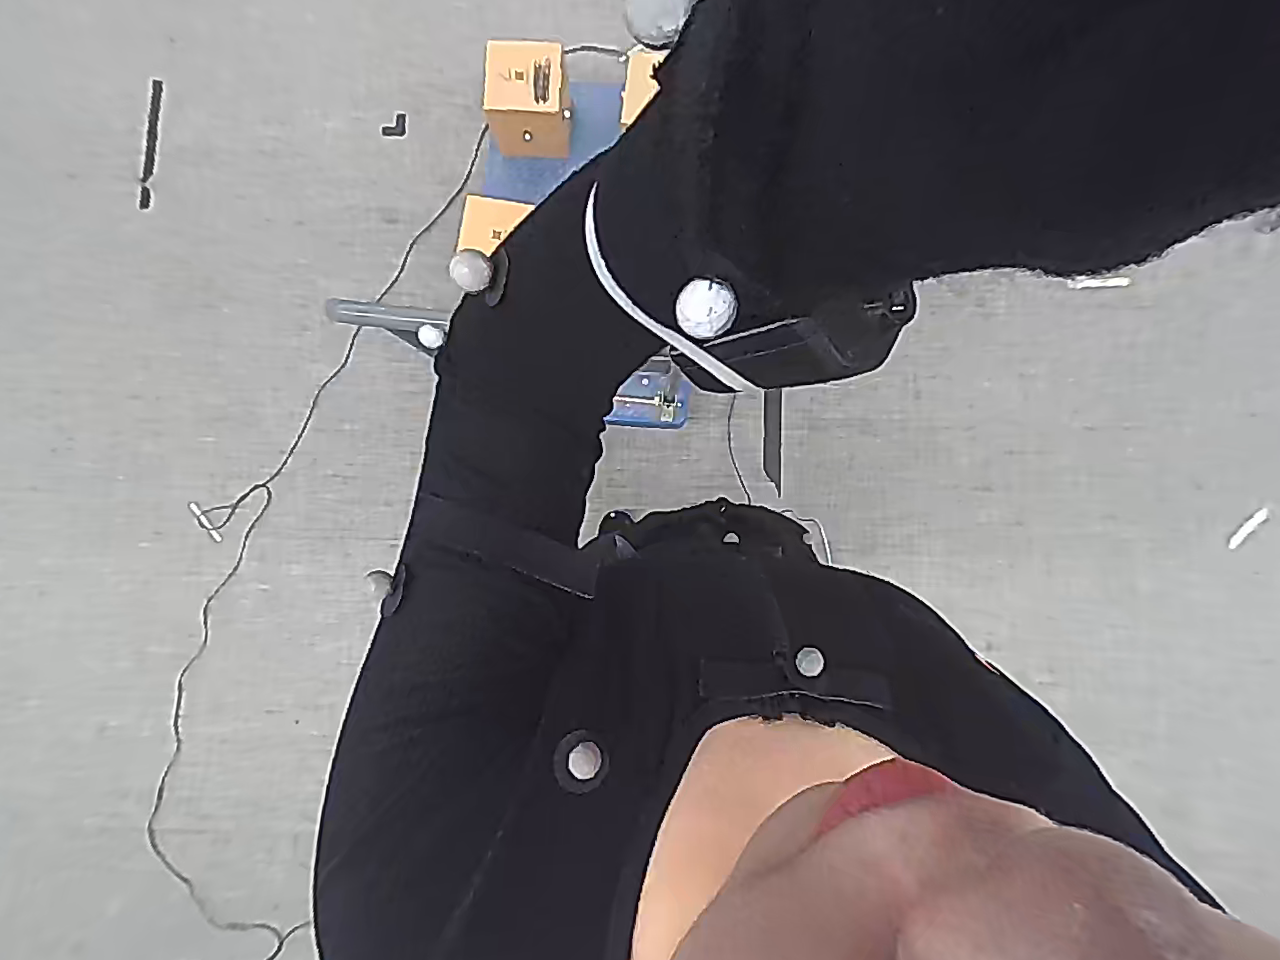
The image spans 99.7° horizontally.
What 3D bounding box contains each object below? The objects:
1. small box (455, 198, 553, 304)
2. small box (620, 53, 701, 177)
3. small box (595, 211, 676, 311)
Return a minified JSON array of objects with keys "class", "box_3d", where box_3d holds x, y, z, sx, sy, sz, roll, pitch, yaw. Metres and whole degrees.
[{"class":"small box","box_3d":[-0.316,-0.536,1.289,0.179,0.176,0.168,9,86,0]},{"class":"small box","box_3d":[0.046,-0.873,1.305,0.168,0.176,0.179,7,88,1]},{"class":"small box","box_3d":[-0.007,-0.512,1.284,0.179,0.176,0.168,2,87,1]}]
